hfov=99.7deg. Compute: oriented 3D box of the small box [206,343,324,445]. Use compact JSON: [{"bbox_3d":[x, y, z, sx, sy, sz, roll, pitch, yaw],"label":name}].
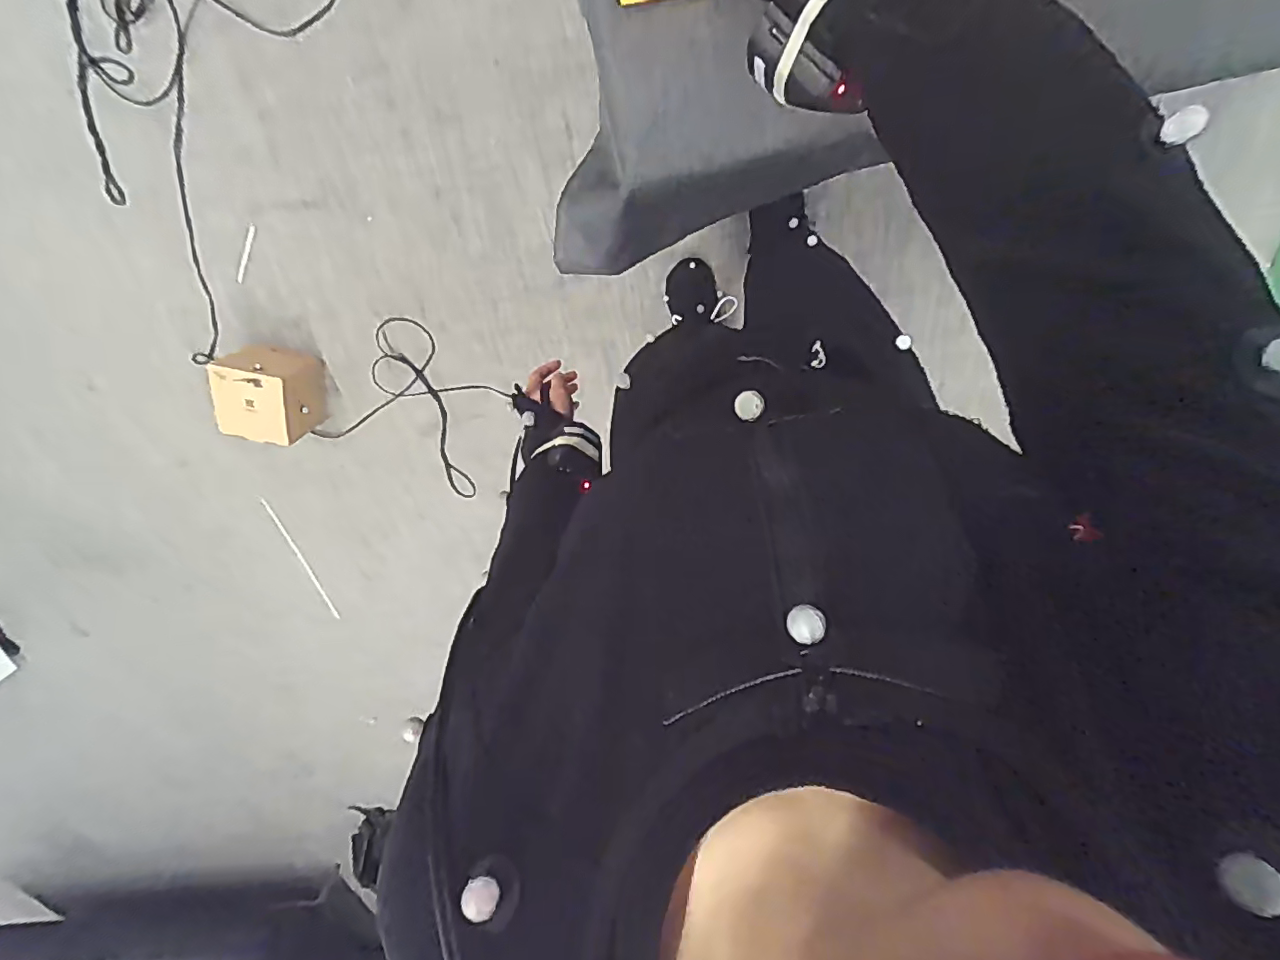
[{"bbox_3d":[-0.891,-0.211,1.306,0.168,0.176,0.179,12,119,-3],"label":"small box"}]
